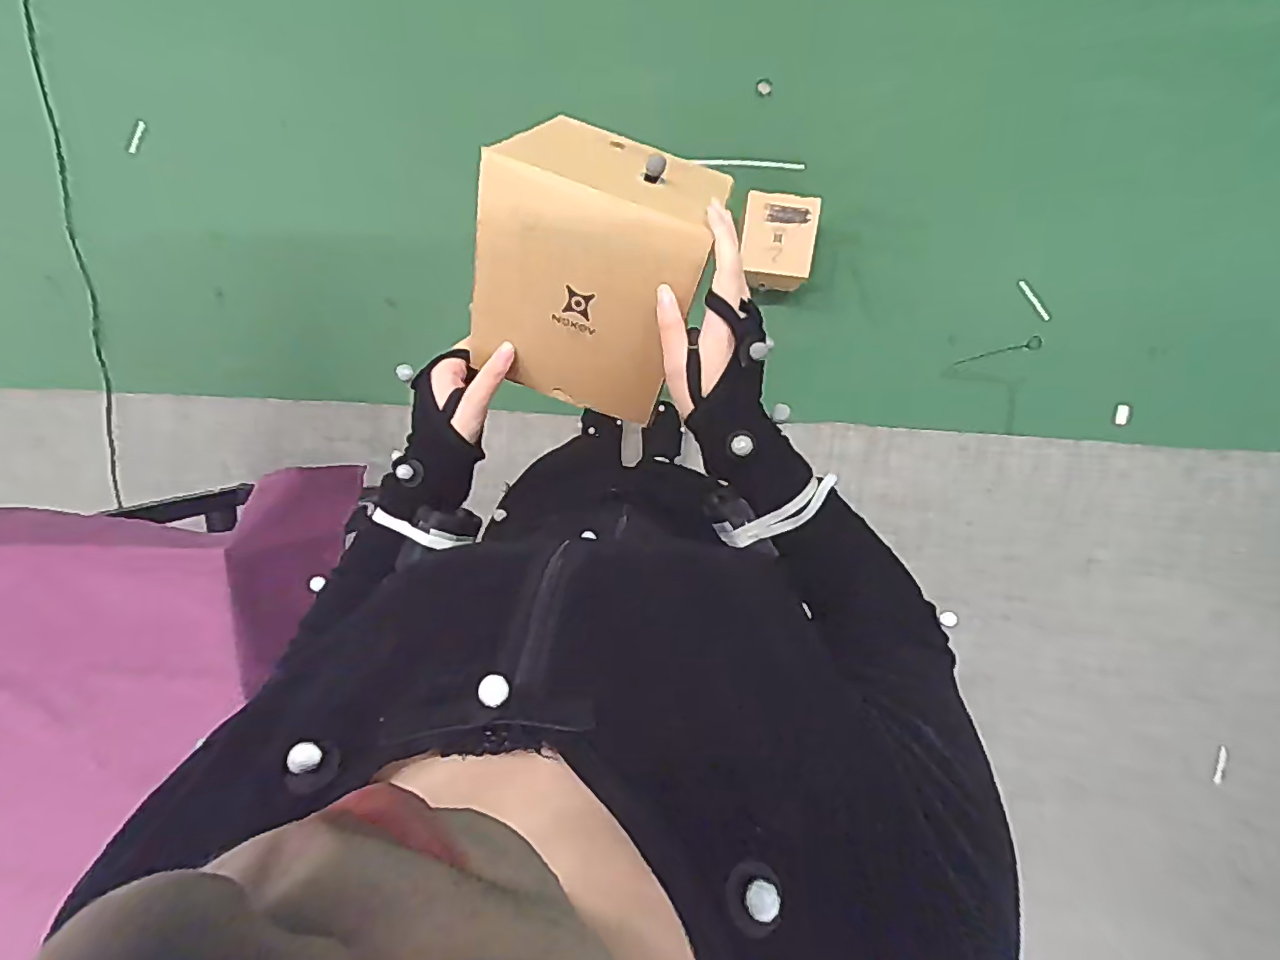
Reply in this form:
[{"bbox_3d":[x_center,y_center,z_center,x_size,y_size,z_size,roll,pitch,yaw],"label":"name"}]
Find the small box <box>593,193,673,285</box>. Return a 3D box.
[{"bbox_3d":[-0.012,-0.584,1.330,0.179,0.176,0.168,6,98,4],"label":"small box"}]
